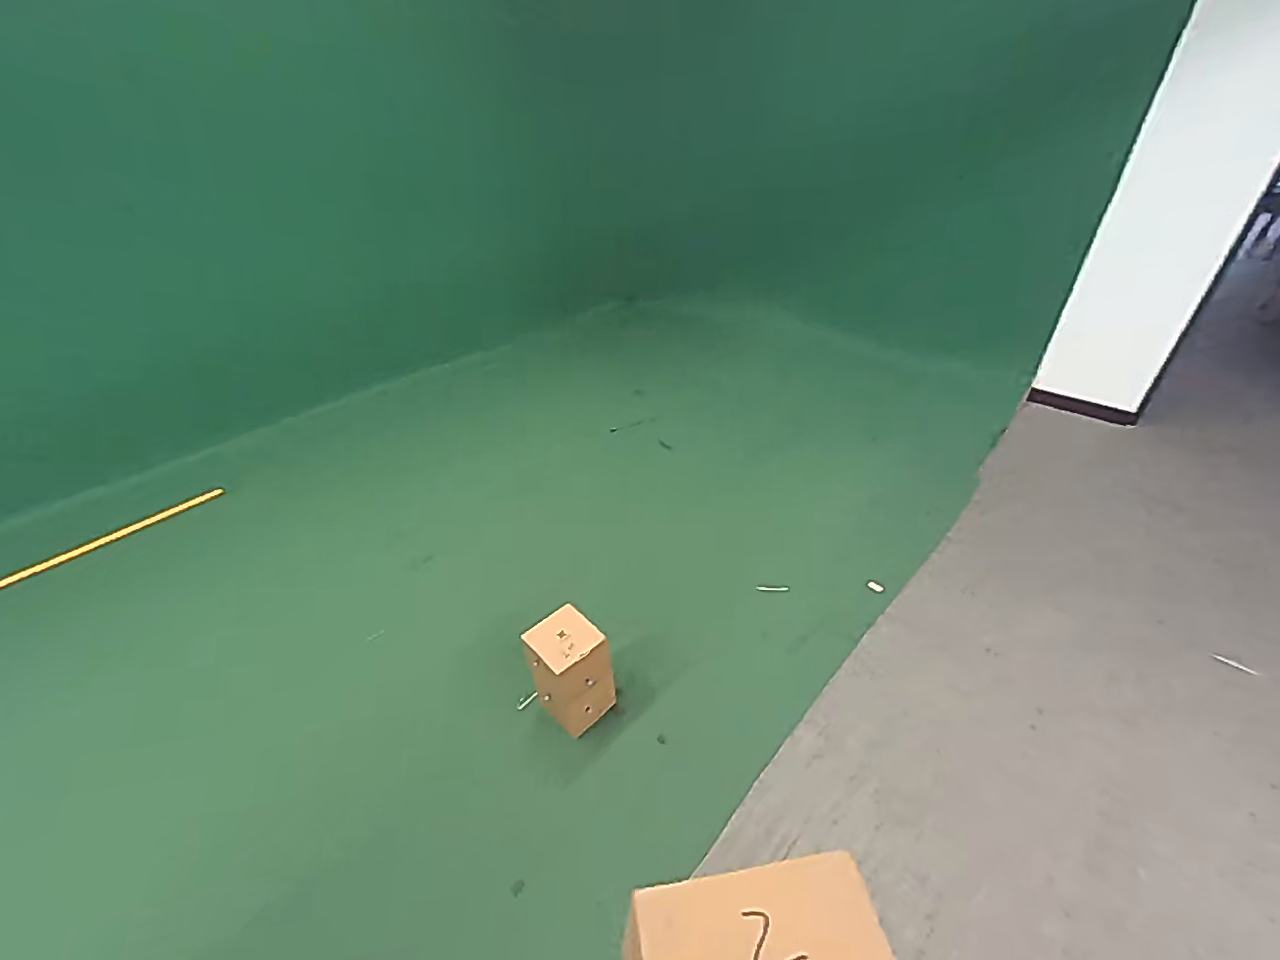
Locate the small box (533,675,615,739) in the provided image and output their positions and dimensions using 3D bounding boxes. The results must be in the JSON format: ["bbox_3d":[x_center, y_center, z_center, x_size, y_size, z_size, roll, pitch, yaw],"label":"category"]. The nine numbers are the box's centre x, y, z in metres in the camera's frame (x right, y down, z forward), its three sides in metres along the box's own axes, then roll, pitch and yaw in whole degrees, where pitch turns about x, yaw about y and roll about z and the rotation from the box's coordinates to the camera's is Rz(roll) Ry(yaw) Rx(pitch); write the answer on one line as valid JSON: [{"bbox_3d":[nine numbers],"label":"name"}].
[{"bbox_3d":[-0.189,0.634,1.607,0.179,0.176,0.168,28,47,36],"label":"small box"}]

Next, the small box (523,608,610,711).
[{"bbox_3d":[-0.201,0.502,1.507,0.168,0.176,0.179,-31,44,-31],"label":"small box"}]
